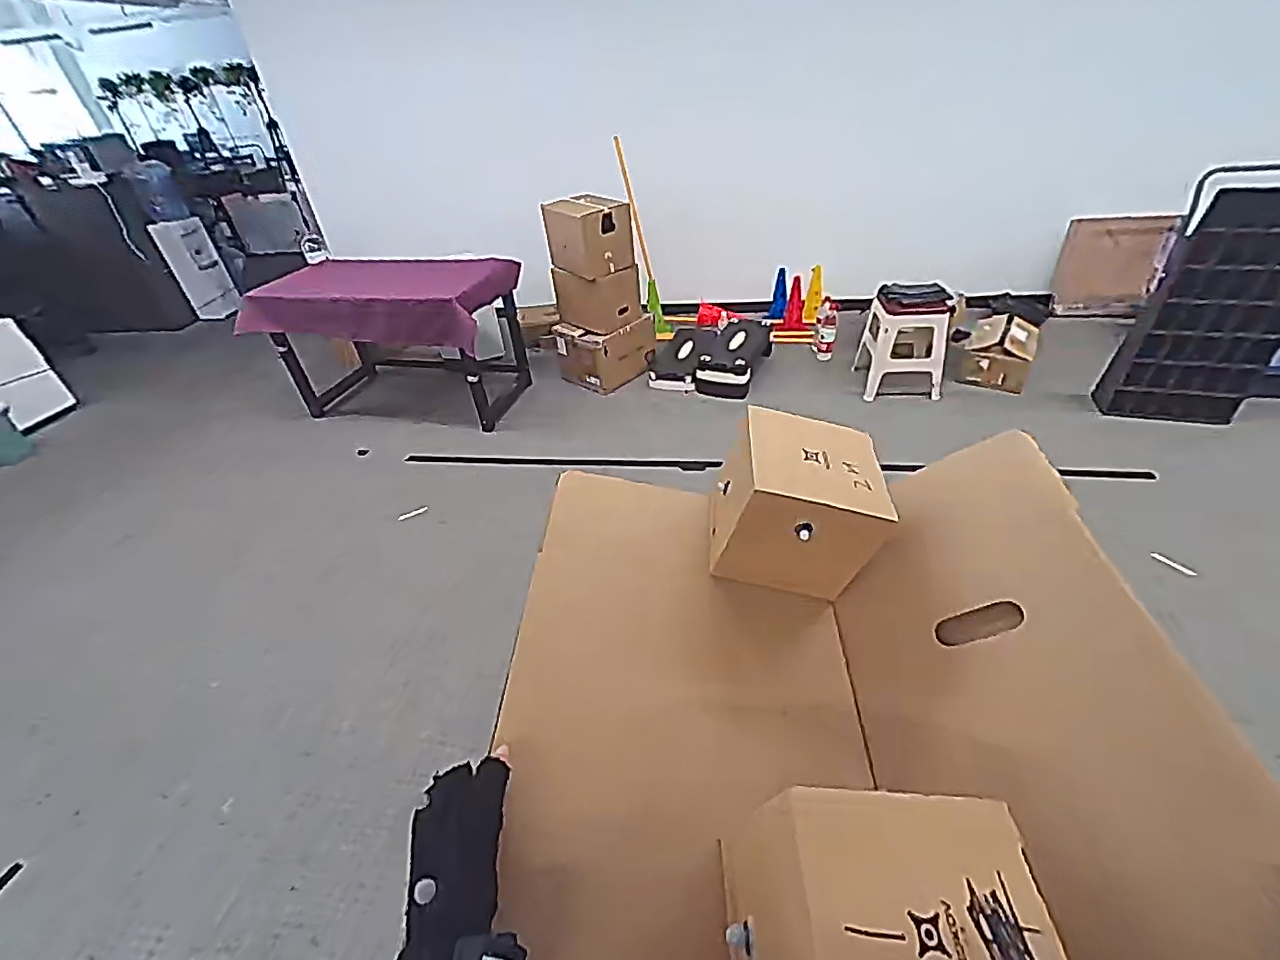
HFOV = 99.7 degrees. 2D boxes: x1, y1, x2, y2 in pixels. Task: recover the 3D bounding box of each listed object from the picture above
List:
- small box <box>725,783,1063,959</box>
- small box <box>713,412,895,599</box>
[{"bbox_3d":[0.177,0.347,0.406,0.179,0.176,0.168,8,45,-7],"label":"small box"},{"bbox_3d":[0.203,0.038,0.728,0.179,0.176,0.168,14,43,-4],"label":"small box"}]
